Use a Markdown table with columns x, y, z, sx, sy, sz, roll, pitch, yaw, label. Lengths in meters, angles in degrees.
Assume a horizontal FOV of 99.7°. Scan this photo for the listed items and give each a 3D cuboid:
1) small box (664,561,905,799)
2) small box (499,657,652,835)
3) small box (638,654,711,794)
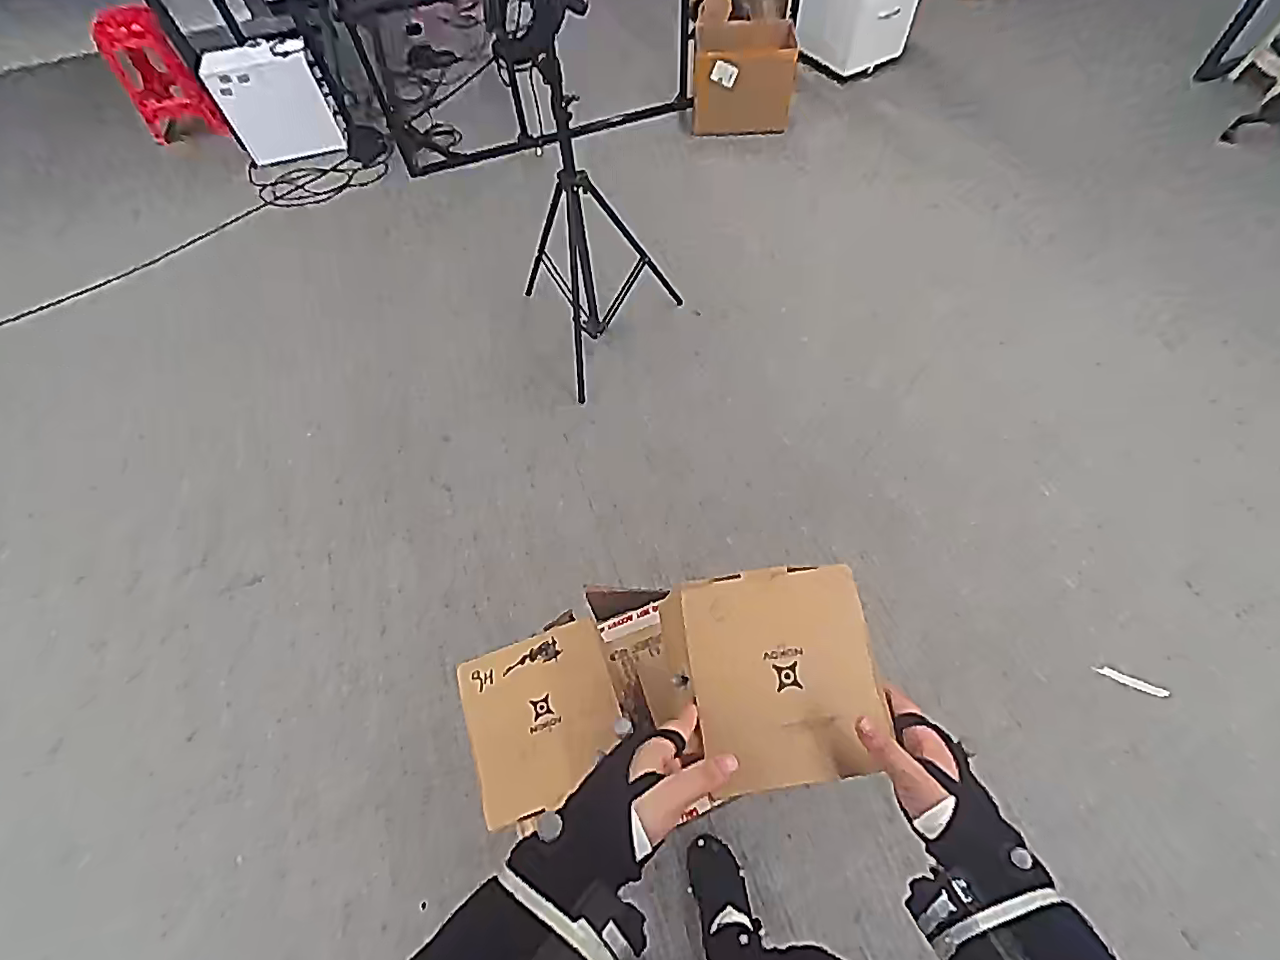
| x | y | z | sx | sy | sz | roll | pitch | yaw | label |
| --- | --- | --- | --- | --- | --- | --- | --- | --- | --- |
| 0.121 | 0.190 | 0.537 | 0.168 | 0.176 | 0.179 | -7 | 72 | -6 | small box |
| -0.089 | 0.390 | 0.800 | 0.168 | 0.176 | 0.179 | -22 | 64 | -8 | small box |
| 0.101 | 0.352 | 0.813 | 0.168 | 0.176 | 0.179 | -18 | 62 | -9 | small box |
